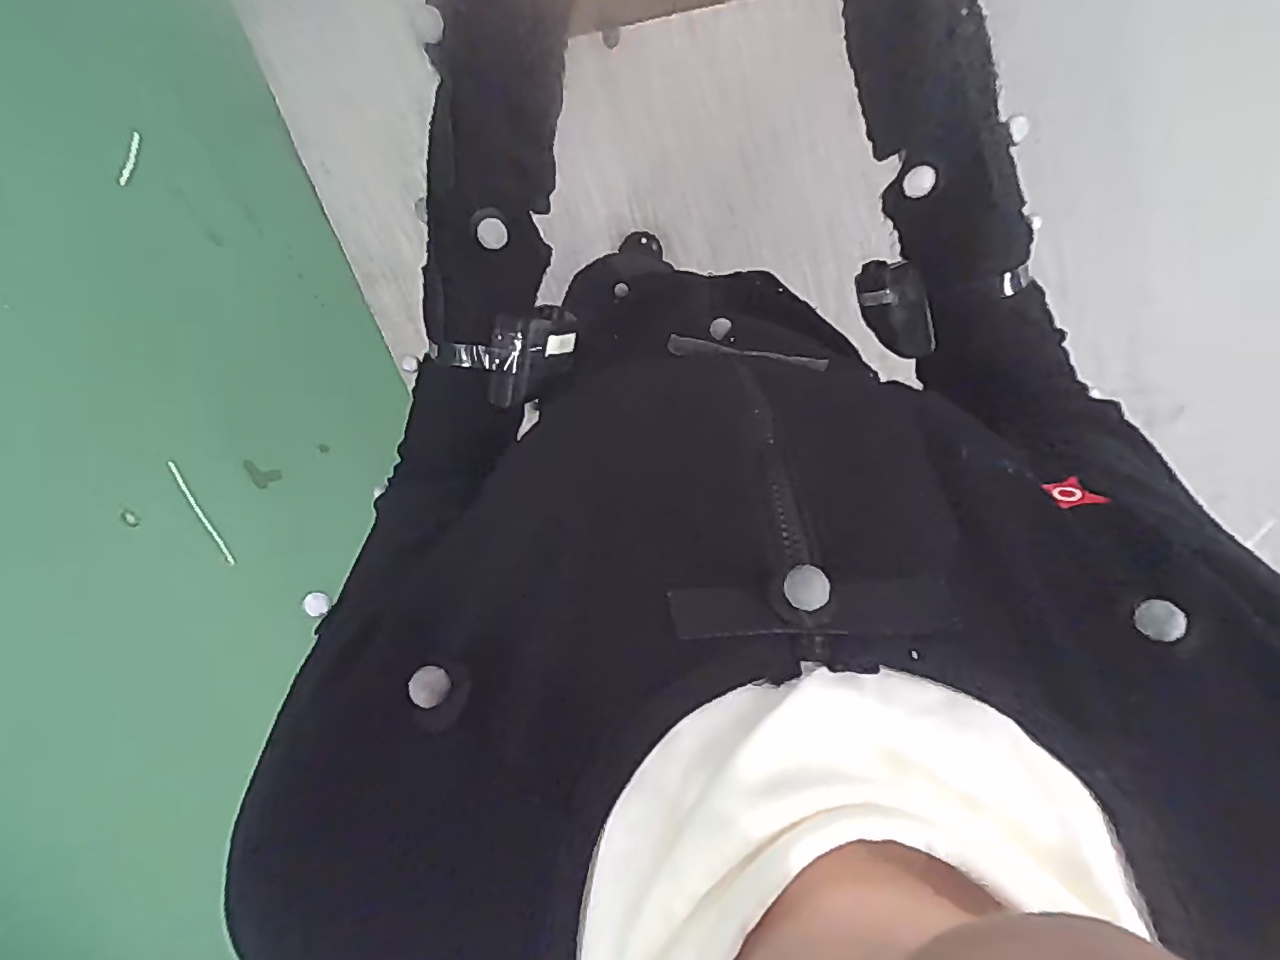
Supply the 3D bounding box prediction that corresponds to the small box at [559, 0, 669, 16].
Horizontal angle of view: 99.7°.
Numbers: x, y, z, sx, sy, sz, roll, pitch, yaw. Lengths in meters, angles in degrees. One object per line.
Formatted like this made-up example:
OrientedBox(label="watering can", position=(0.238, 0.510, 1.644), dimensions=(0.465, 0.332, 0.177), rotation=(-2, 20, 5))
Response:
OrientedBox(label="small box", position=(0.013, -0.367, 0.270), dimensions=(0.168, 0.176, 0.179), rotation=(-9, 119, 4))
